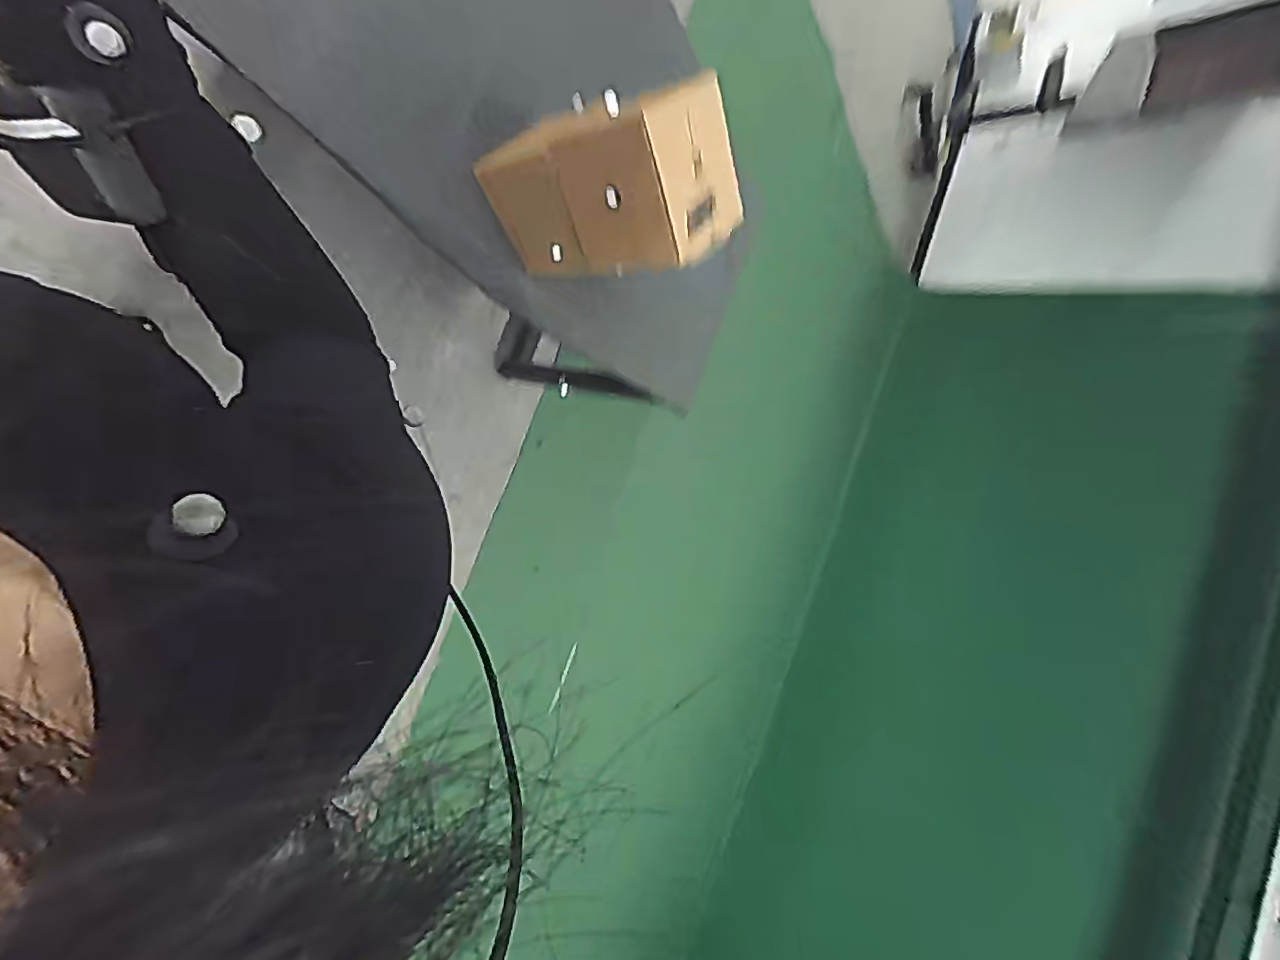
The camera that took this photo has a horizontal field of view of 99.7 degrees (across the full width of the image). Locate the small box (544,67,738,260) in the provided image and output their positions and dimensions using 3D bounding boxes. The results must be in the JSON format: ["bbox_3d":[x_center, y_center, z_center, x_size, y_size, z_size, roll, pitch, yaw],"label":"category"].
[{"bbox_3d":[0.005,-0.411,0.724,0.168,0.176,0.179,-47,133,-31],"label":"small box"}]
